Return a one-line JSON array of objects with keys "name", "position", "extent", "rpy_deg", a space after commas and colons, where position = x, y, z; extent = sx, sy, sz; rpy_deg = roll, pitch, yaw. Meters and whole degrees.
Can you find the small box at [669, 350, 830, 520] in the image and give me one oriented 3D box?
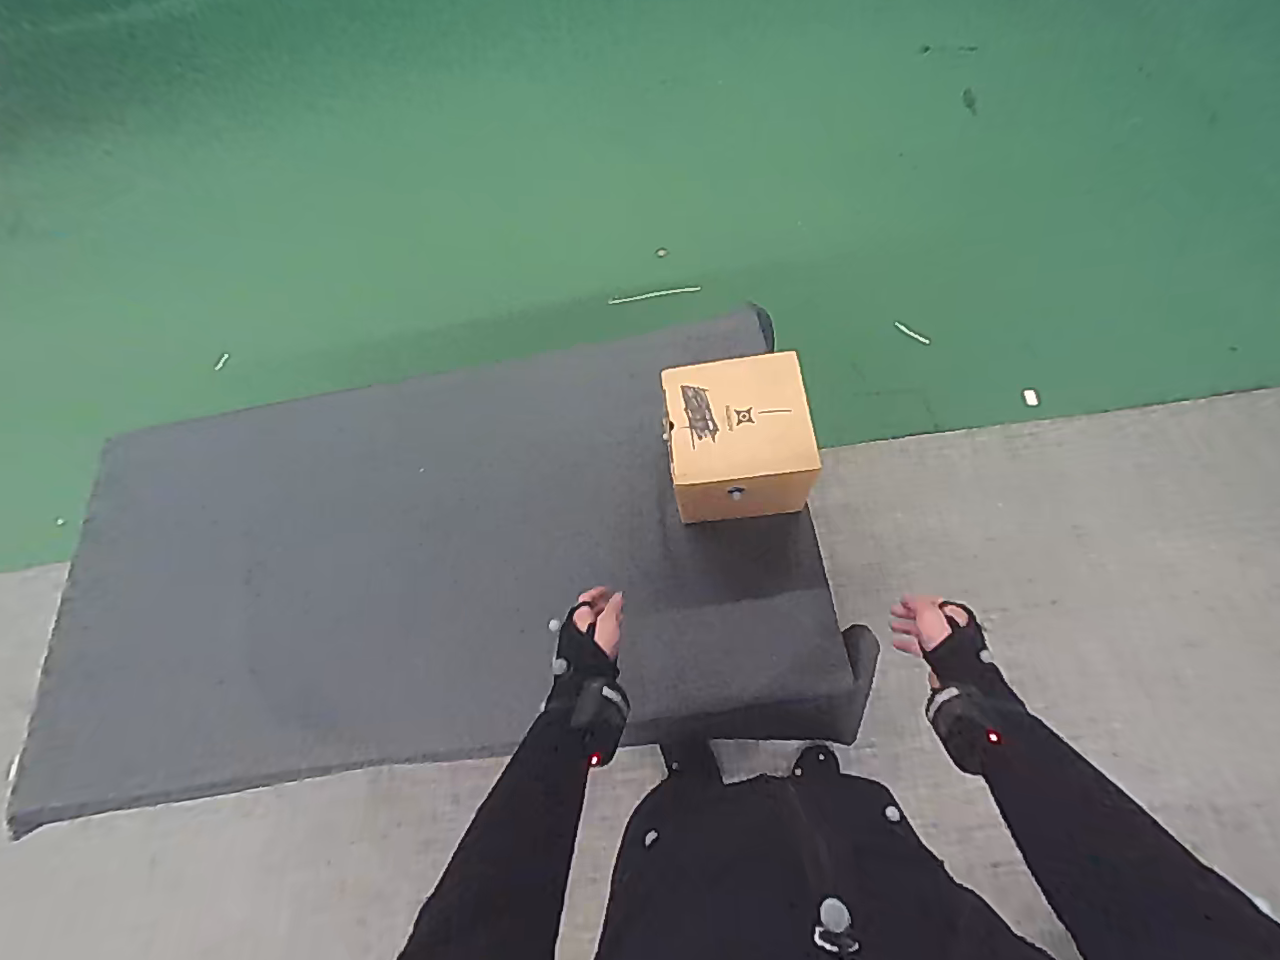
[{"name": "small box", "position": [0.136, -0.052, 0.731], "extent": [0.179, 0.176, 0.168], "rpy_deg": [-6, 68, 2]}]
